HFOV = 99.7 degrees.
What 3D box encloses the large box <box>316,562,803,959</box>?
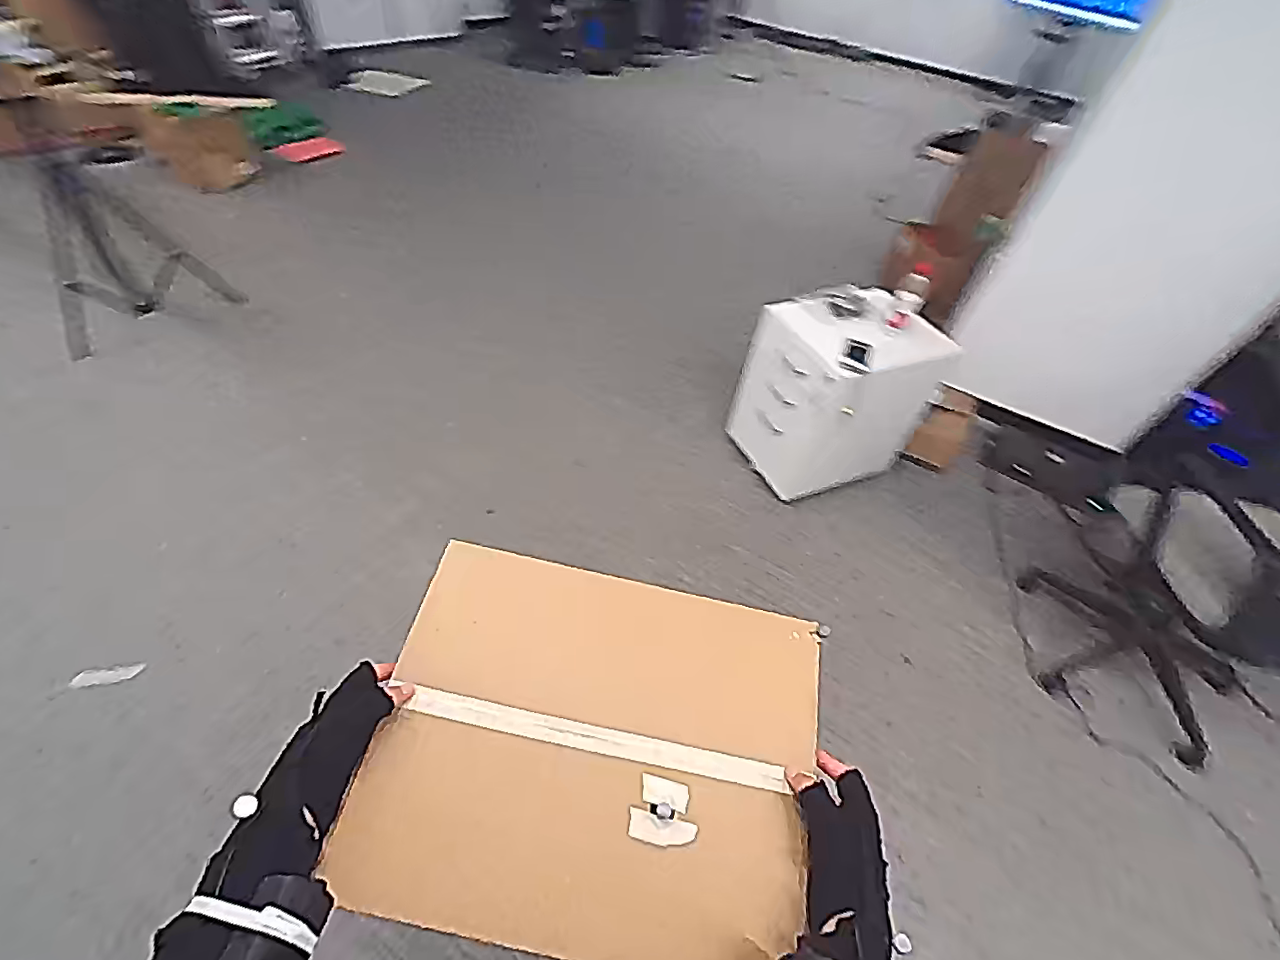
[{"bbox_3d":[-0.061,0.327,0.633,0.408,0.320,0.320,12,59,-1],"label":"large box"}]
